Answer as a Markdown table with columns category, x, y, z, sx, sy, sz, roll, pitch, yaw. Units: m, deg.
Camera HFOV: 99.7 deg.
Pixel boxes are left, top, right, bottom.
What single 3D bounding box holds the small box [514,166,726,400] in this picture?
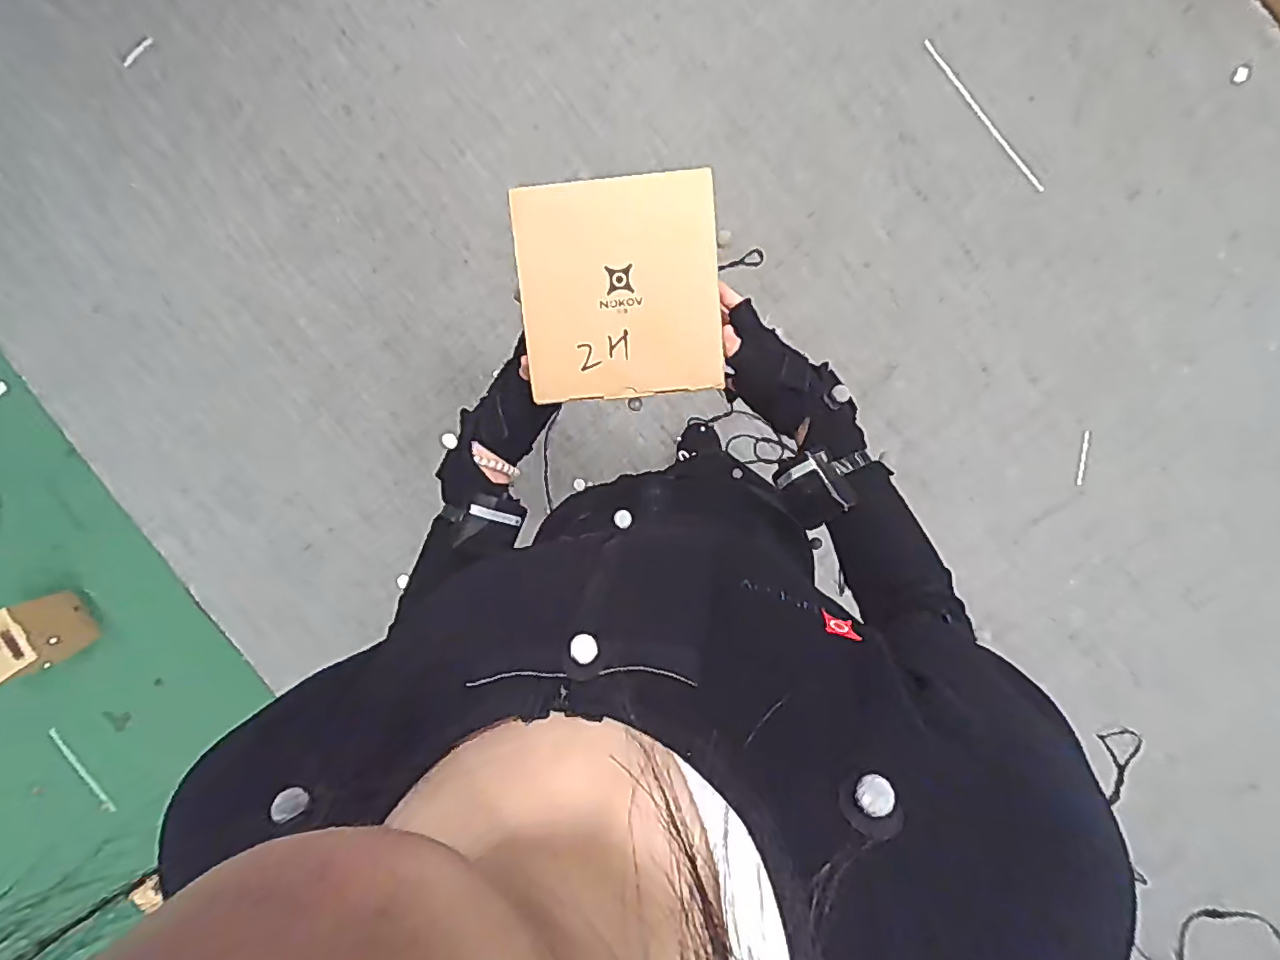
| category | x | y | z | sx | sy | sz | roll | pitch | yaw |
| --- | --- | --- | --- | --- | --- | --- | --- | --- | --- |
| small box | -0.012 | -0.169 | 0.518 | 0.168 | 0.176 | 0.179 | -4 | 100 | 3 |

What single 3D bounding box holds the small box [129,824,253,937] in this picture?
| category | x | y | z | sx | sy | sz | roll | pitch | yaw |
| --- | --- | --- | --- | --- | --- | --- | --- | --- | --- |
| small box | -1.287 | 1.140 | 1.562 | 0.168 | 0.176 | 0.179 | -41 | 92 | 5 |
